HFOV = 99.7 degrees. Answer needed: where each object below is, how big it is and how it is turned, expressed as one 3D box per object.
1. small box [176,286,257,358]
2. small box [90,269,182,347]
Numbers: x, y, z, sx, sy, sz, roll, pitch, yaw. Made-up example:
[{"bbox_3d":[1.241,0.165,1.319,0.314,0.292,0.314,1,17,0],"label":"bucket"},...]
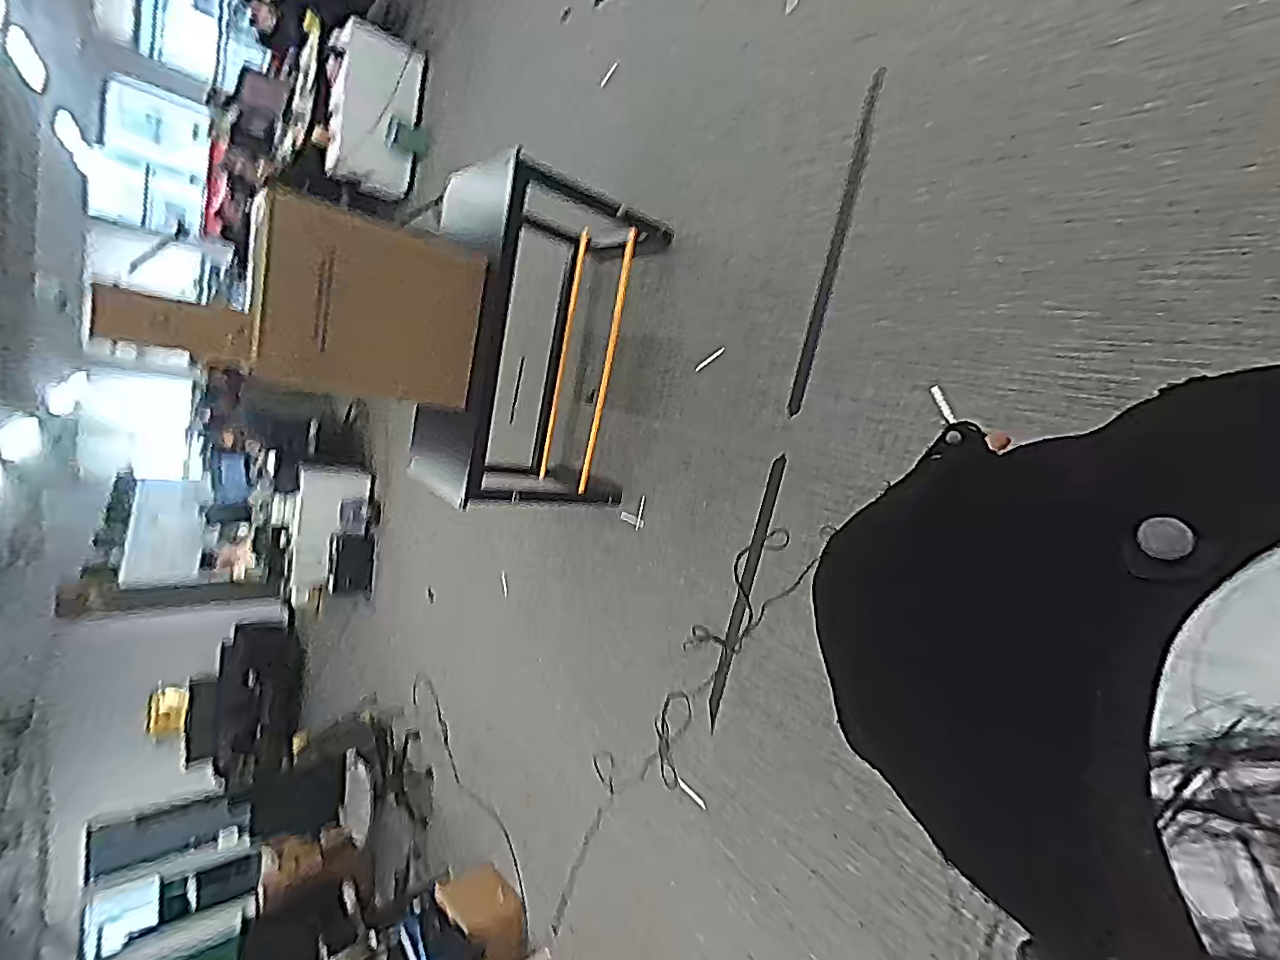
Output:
[{"bbox_3d":[-1.237,-0.454,1.575,0.179,0.176,0.168,14,98,46],"label":"small box"},{"bbox_3d":[-1.358,-0.459,1.463,0.179,0.176,0.168,18,101,47],"label":"small box"}]
